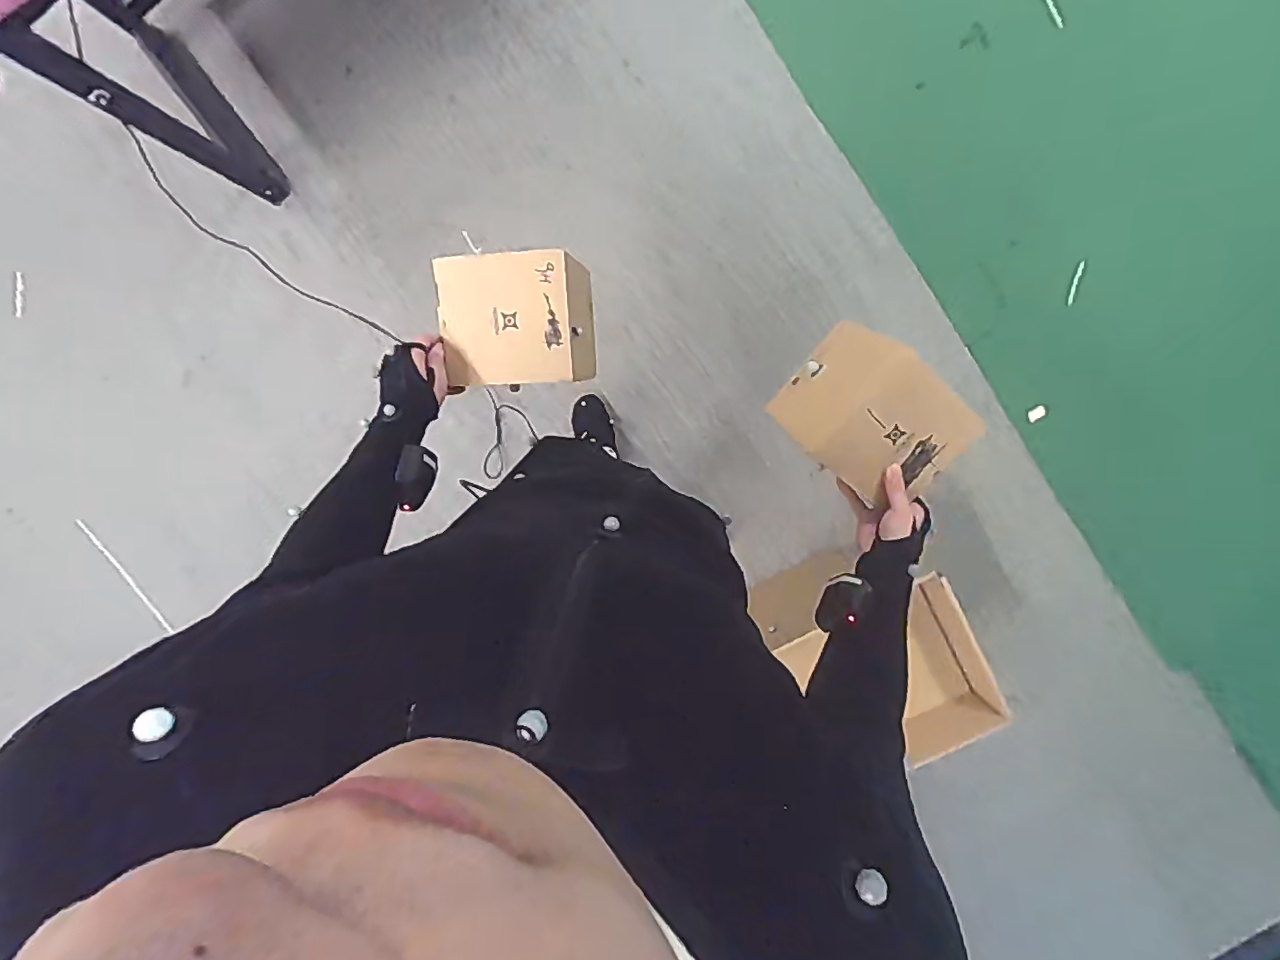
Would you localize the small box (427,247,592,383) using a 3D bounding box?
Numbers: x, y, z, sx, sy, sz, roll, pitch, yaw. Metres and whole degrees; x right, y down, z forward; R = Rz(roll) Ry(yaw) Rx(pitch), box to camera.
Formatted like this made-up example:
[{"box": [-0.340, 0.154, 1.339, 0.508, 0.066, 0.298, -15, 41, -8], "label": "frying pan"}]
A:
[{"box": [-0.175, -0.224, 0.775, 0.179, 0.176, 0.168, -1, 102, 8], "label": "small box"}]

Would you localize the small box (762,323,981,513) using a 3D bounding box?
[{"box": [0.299, -0.092, 0.733, 0.179, 0.176, 0.168, 33, 107, -19], "label": "small box"}]
